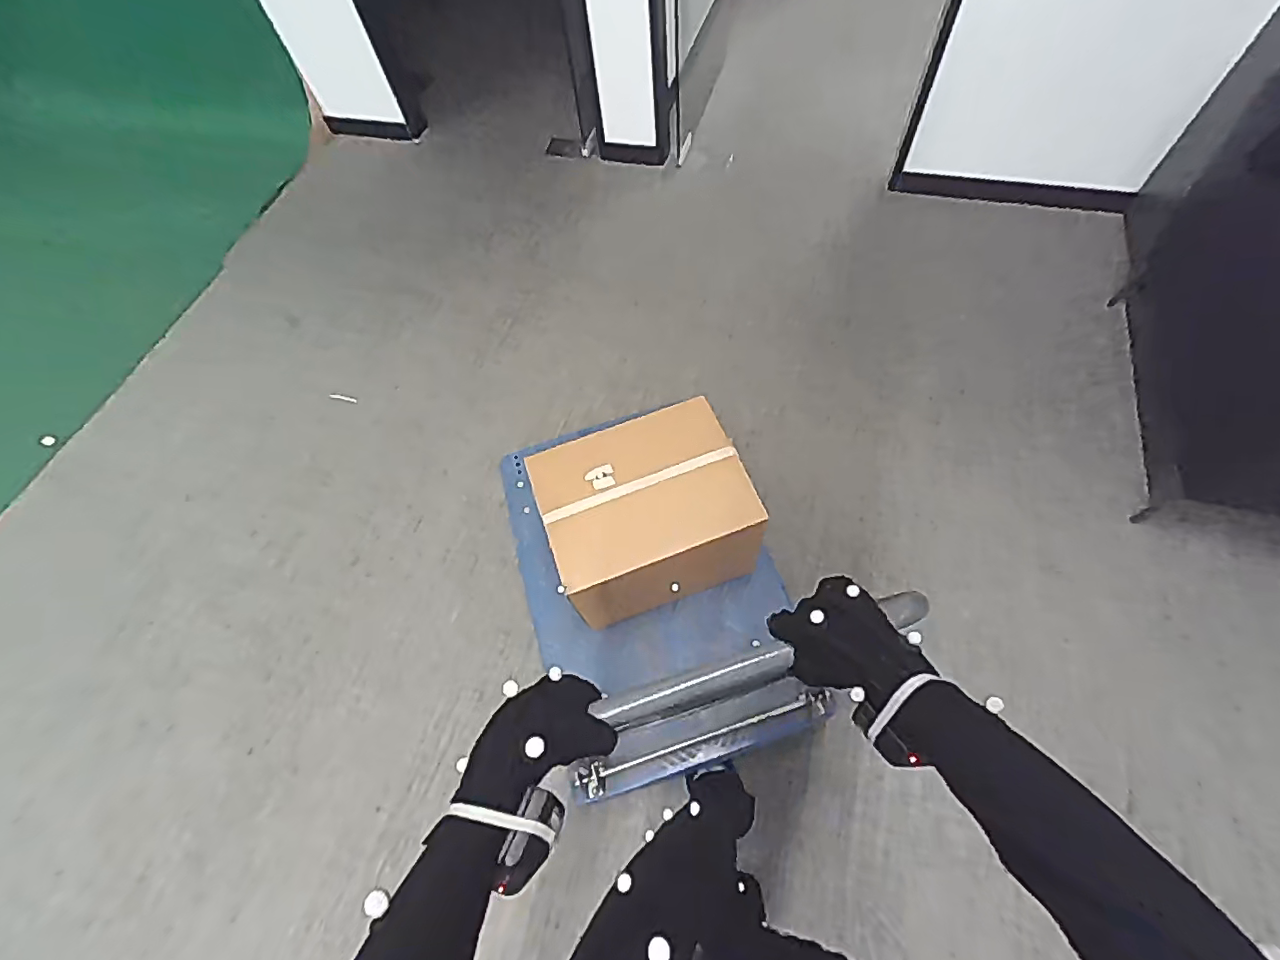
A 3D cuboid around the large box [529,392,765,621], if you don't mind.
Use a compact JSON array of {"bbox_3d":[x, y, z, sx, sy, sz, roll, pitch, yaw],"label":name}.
[{"bbox_3d":[0.019,0.072,1.209,0.408,0.320,0.320,-22,63,-4],"label":"large box"}]
